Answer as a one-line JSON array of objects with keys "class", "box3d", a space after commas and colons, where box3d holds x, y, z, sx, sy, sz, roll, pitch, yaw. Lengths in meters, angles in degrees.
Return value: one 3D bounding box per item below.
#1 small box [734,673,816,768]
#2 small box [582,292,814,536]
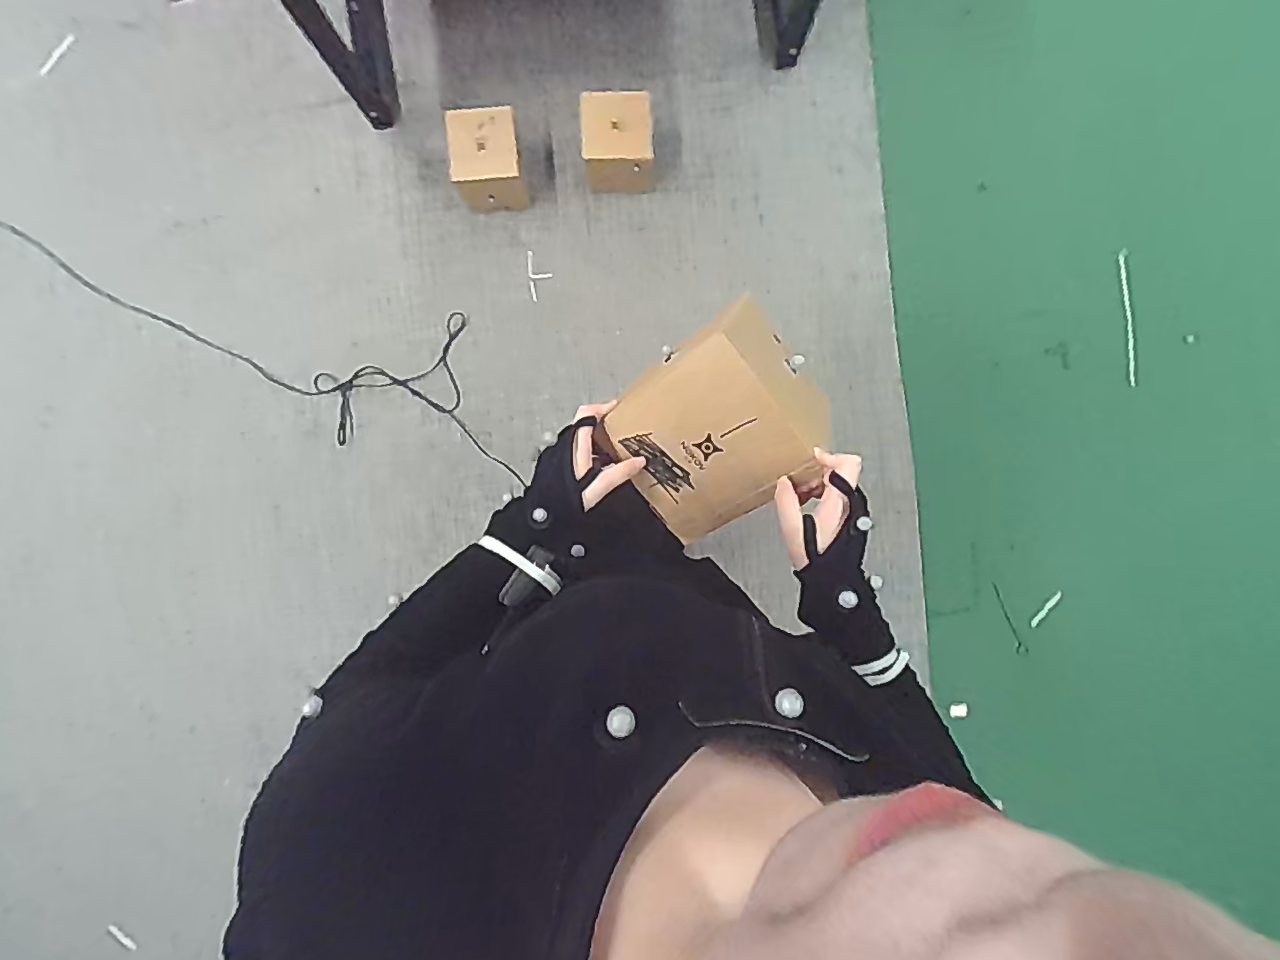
[{"class": "small box", "box3d": [0.347, 0.619, 1.417, 0.168, 0.176, 0.179, -7, 91, 0]}, {"class": "small box", "box3d": [0.074, -0.075, 0.592, 0.179, 0.176, 0.168, -34, 105, 31]}]
